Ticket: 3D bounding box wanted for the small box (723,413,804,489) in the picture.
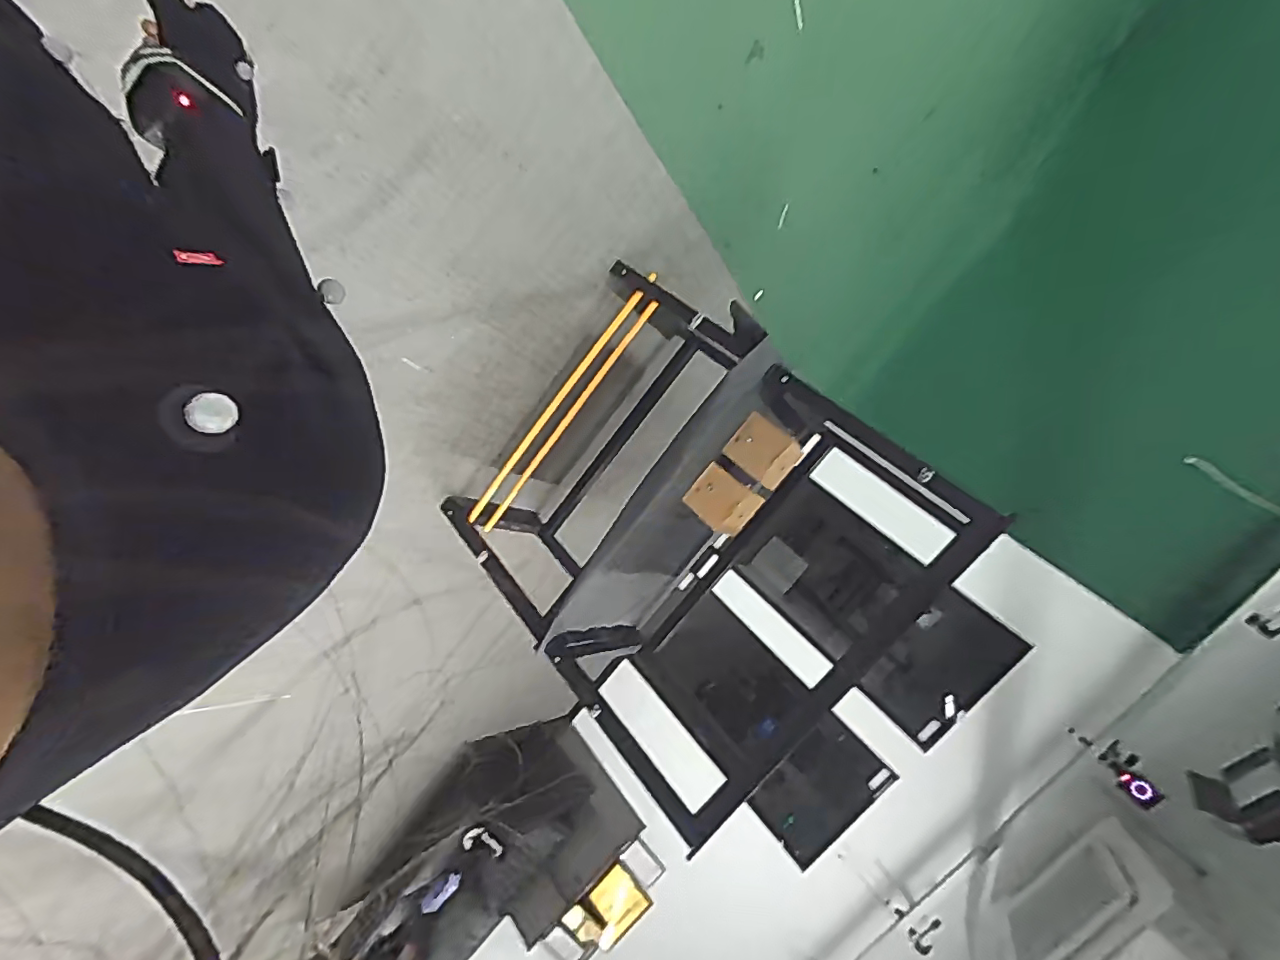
[{"bbox_3d":[0.402,-0.095,1.755,0.168,0.176,0.179,-51,152,10],"label":"small box"}]
